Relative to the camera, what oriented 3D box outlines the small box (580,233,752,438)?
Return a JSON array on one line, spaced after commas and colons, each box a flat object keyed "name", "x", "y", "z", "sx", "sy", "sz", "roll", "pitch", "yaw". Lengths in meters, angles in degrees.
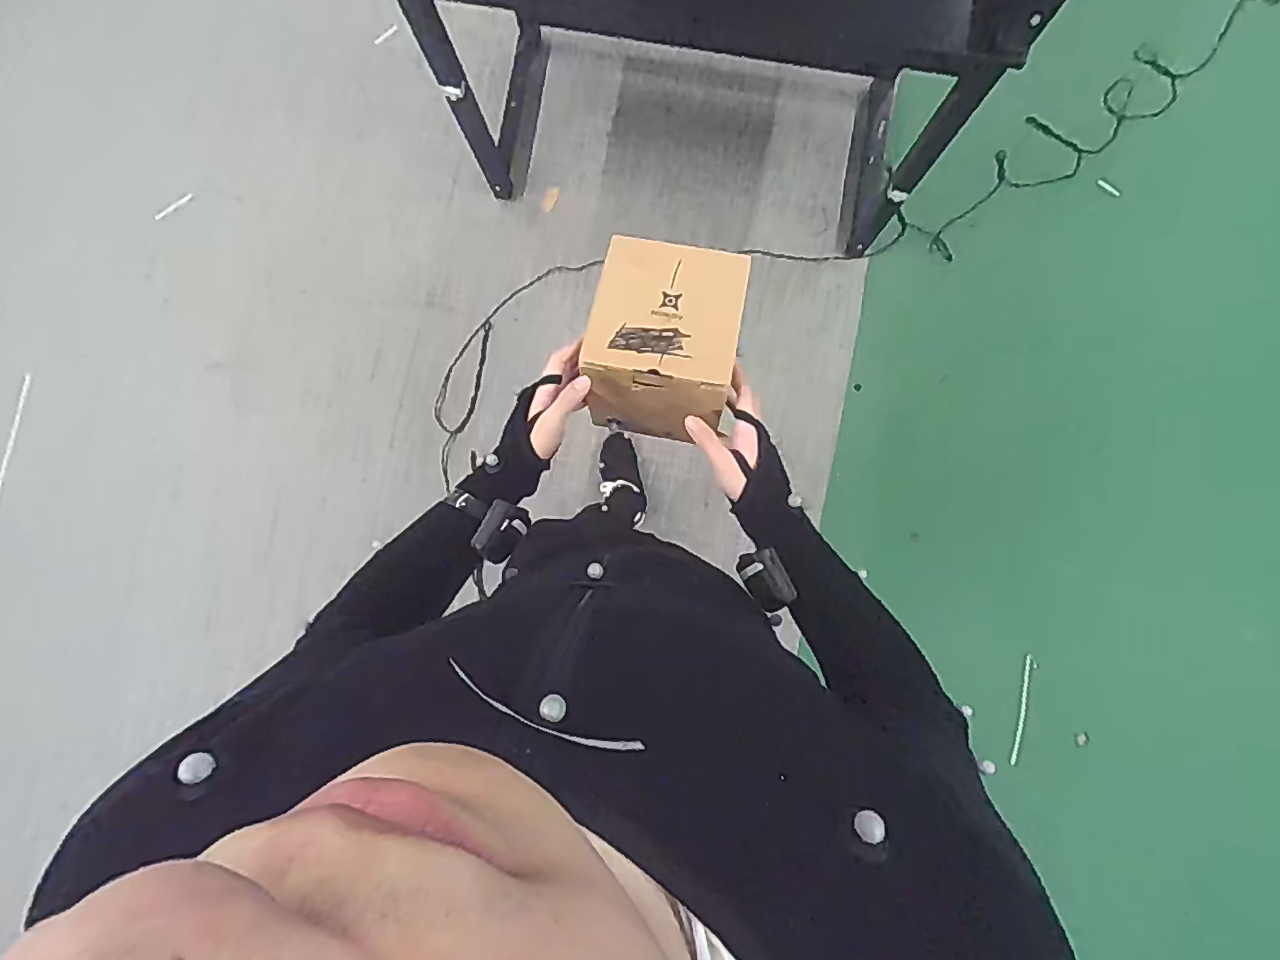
[{"name": "small box", "x": 0.035, "y": -0.169, "z": 0.675, "sx": 0.168, "sy": 0.176, "sz": 0.179, "roll": 11, "pitch": 73, "yaw": 5}]
